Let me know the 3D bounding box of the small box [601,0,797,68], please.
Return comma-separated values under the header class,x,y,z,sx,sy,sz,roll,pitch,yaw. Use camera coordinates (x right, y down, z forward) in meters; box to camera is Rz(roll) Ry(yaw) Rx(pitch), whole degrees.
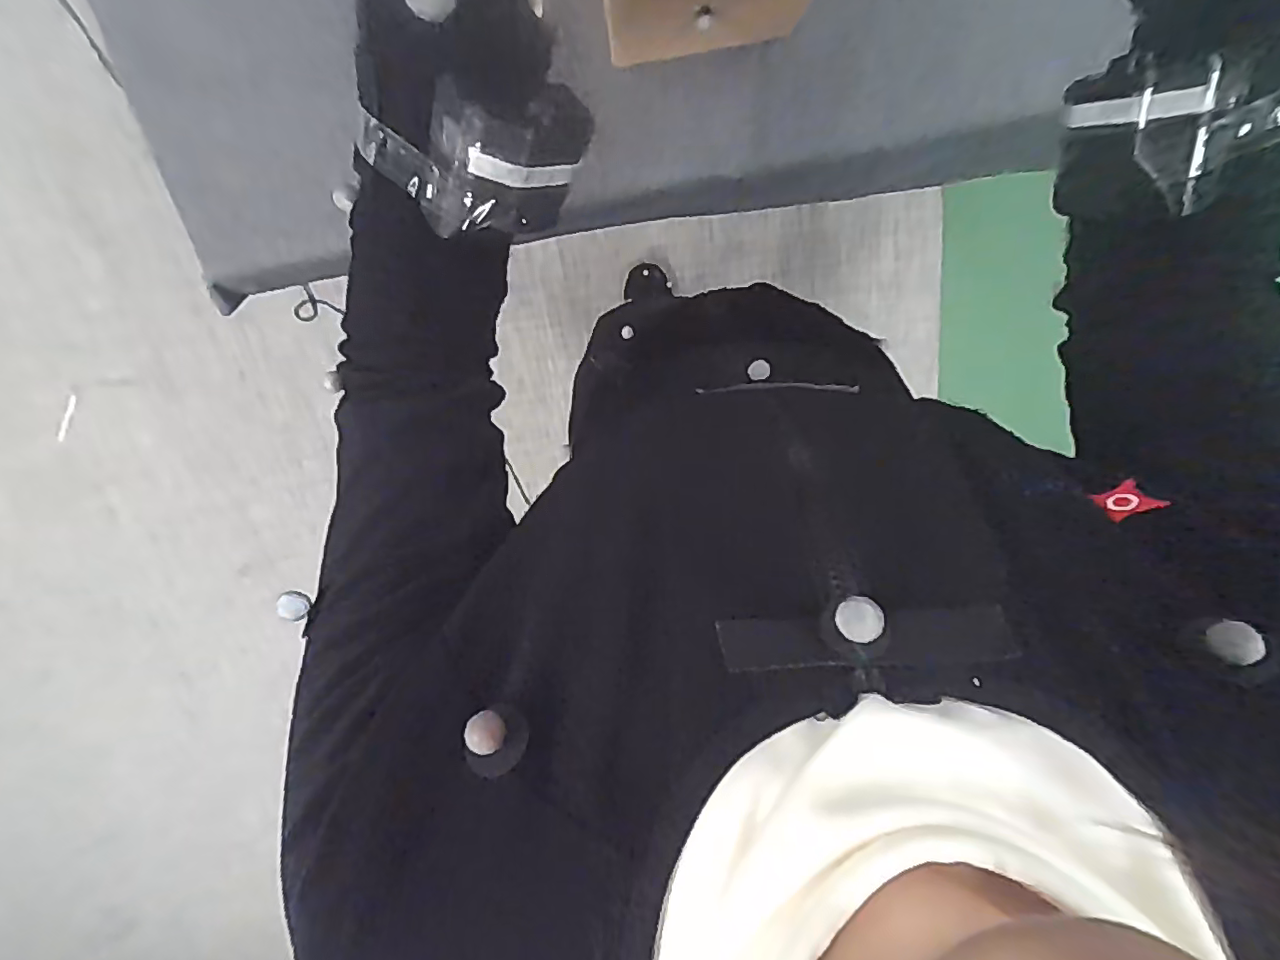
class,x,y,z,sx,sy,sz,roll,pitch,yaw
small box,0.047,-0.476,0.440,0.179,0.176,0.168,-12,110,3
